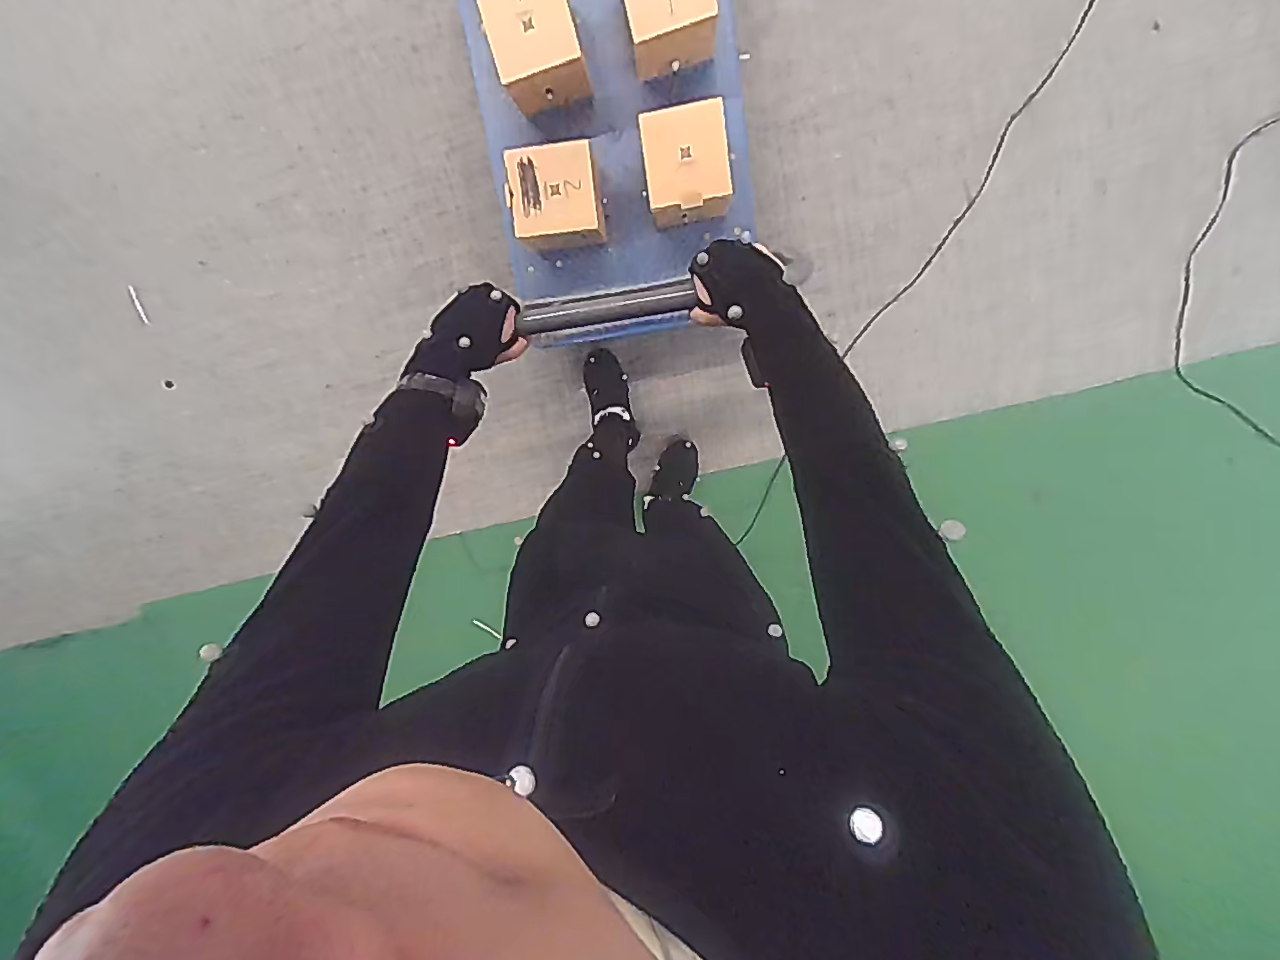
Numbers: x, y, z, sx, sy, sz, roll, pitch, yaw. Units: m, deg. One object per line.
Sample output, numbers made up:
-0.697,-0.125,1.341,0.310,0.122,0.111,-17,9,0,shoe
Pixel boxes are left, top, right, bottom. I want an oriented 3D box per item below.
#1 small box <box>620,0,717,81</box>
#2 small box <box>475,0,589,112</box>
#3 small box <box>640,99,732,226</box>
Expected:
0.049,-0.939,1.065,0.168,0.176,0.179,-13,104,8,small box
-0.210,-0.883,1.097,0.168,0.176,0.179,-14,103,7,small box
0.094,-0.656,1.137,0.168,0.176,0.179,-8,105,6,small box
